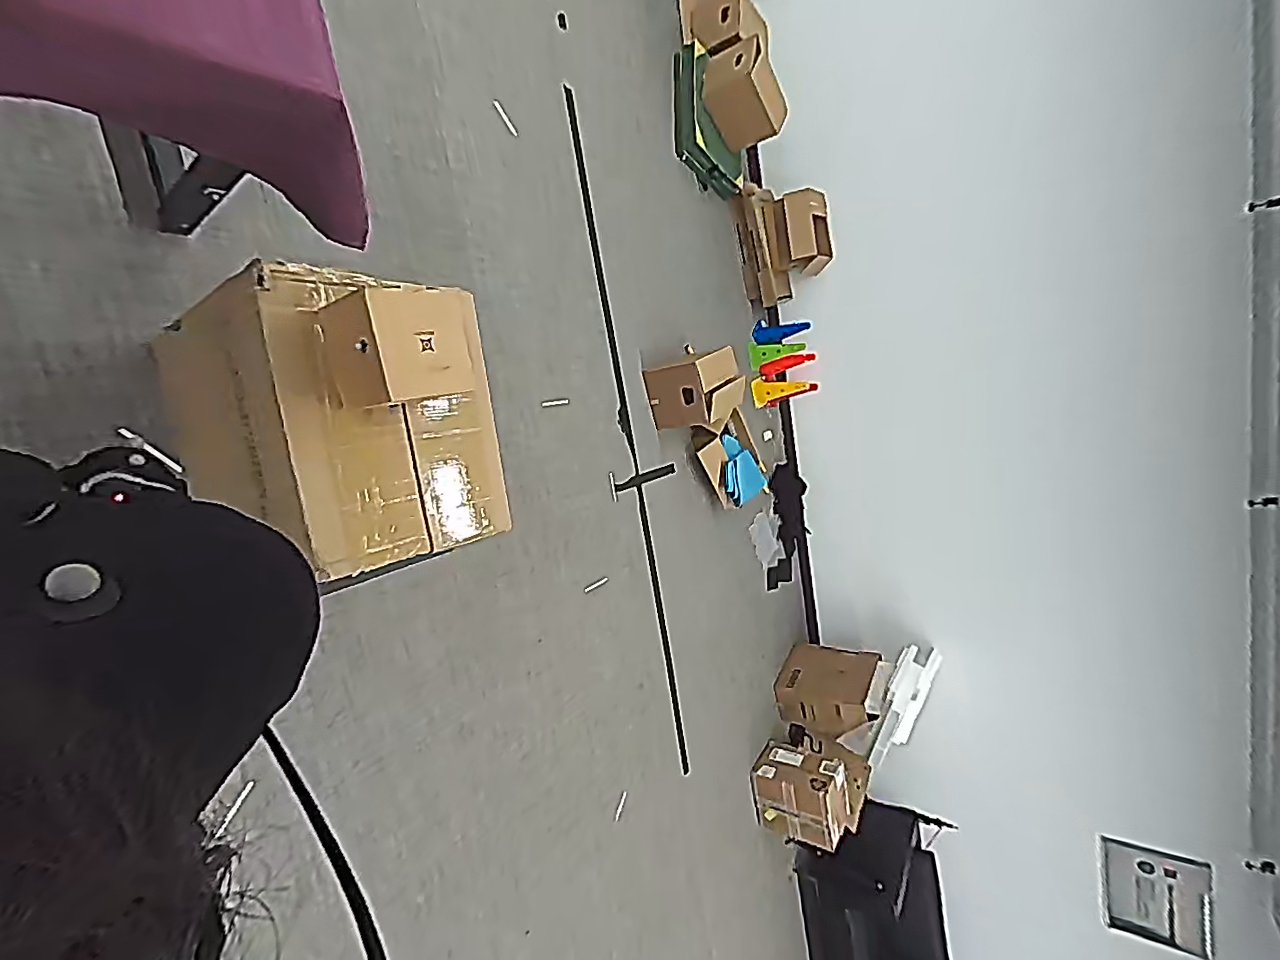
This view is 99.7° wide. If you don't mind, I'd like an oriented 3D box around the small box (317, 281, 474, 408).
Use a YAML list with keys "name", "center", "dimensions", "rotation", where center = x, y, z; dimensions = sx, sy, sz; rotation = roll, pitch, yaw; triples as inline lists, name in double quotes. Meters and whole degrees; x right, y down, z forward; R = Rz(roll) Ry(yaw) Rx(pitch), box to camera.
- name: "small box"
  center: [-0.415, -0.225, 0.916]
  dimensions: [0.168, 0.176, 0.179]
  rotation: [-22, 107, -50]
